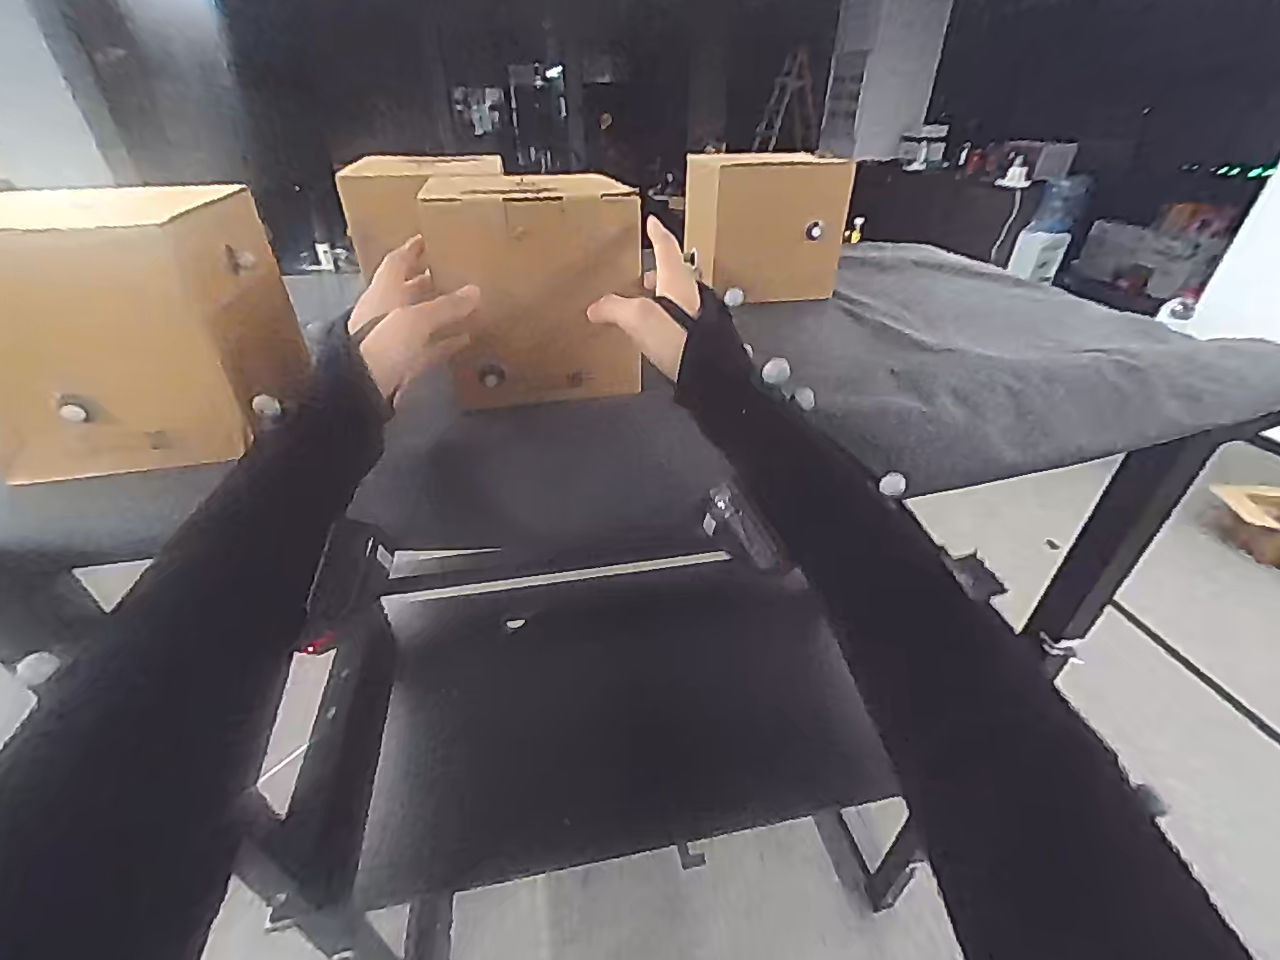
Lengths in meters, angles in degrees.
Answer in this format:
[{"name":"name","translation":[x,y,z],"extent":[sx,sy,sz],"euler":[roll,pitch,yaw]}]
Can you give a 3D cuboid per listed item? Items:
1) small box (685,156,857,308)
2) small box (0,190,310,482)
[{"name":"small box","translation":[0.168,-0.347,0.755],"extent":[0.179,0.176,0.168],"euler":[-5,34,-8]},{"name":"small box","translation":[-0.383,-0.119,0.419],"extent":[0.168,0.176,0.179],"euler":[-8,36,-12]}]
